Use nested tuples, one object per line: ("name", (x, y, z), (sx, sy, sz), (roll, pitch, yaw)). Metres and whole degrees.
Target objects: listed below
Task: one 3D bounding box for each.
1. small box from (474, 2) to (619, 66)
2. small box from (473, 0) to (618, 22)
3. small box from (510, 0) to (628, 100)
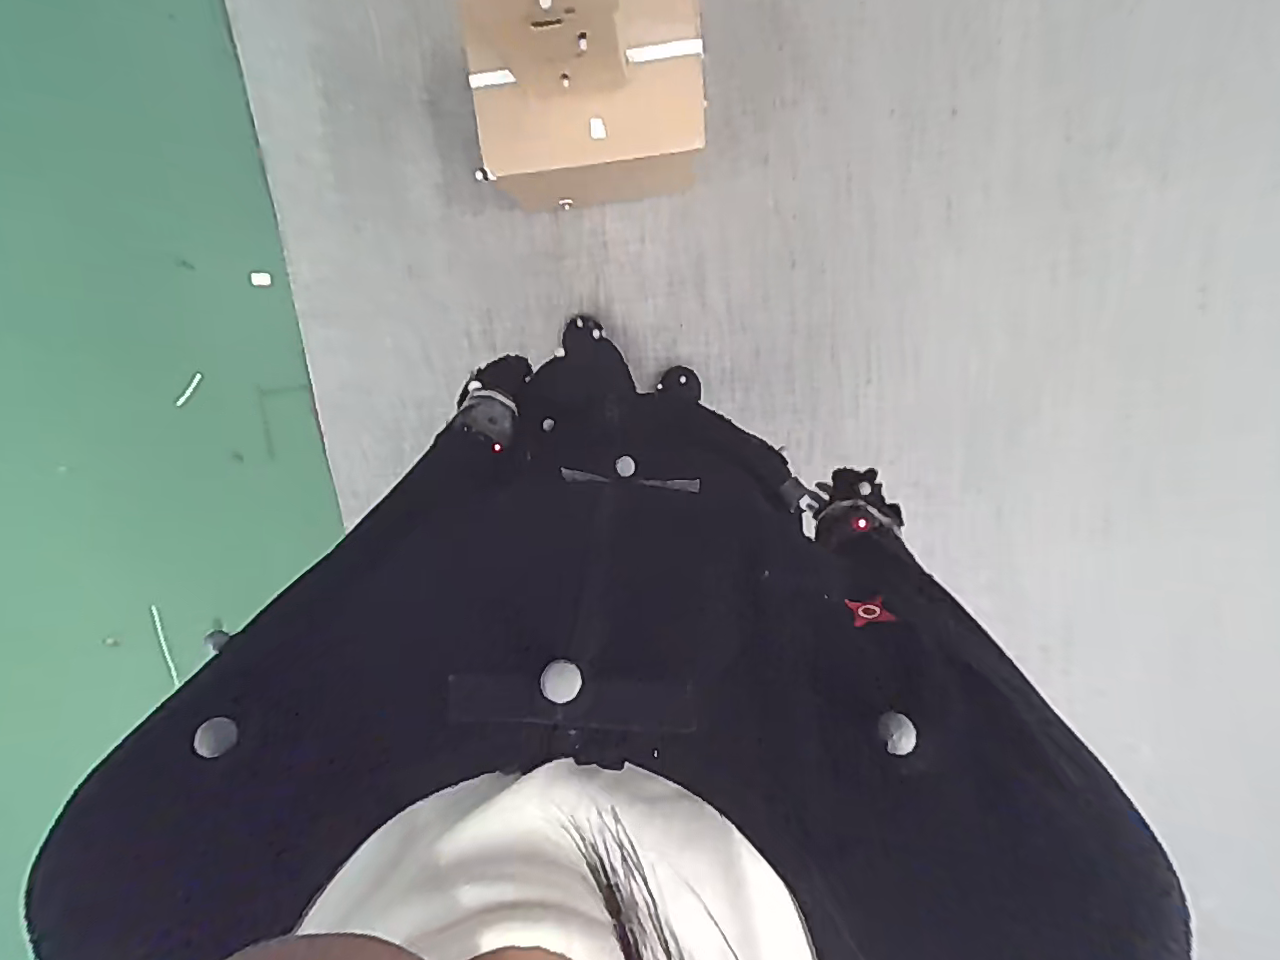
("small box", (-0.121, -0.665, 0.695), (0.168, 0.176, 0.179), (-5, 110, 4))
("small box", (-0.114, -0.600, 0.545), (0.168, 0.176, 0.179), (-5, 112, 4))
("small box", (-0.113, -0.723, 0.846), (0.179, 0.176, 0.168), (-6, 111, 5))
